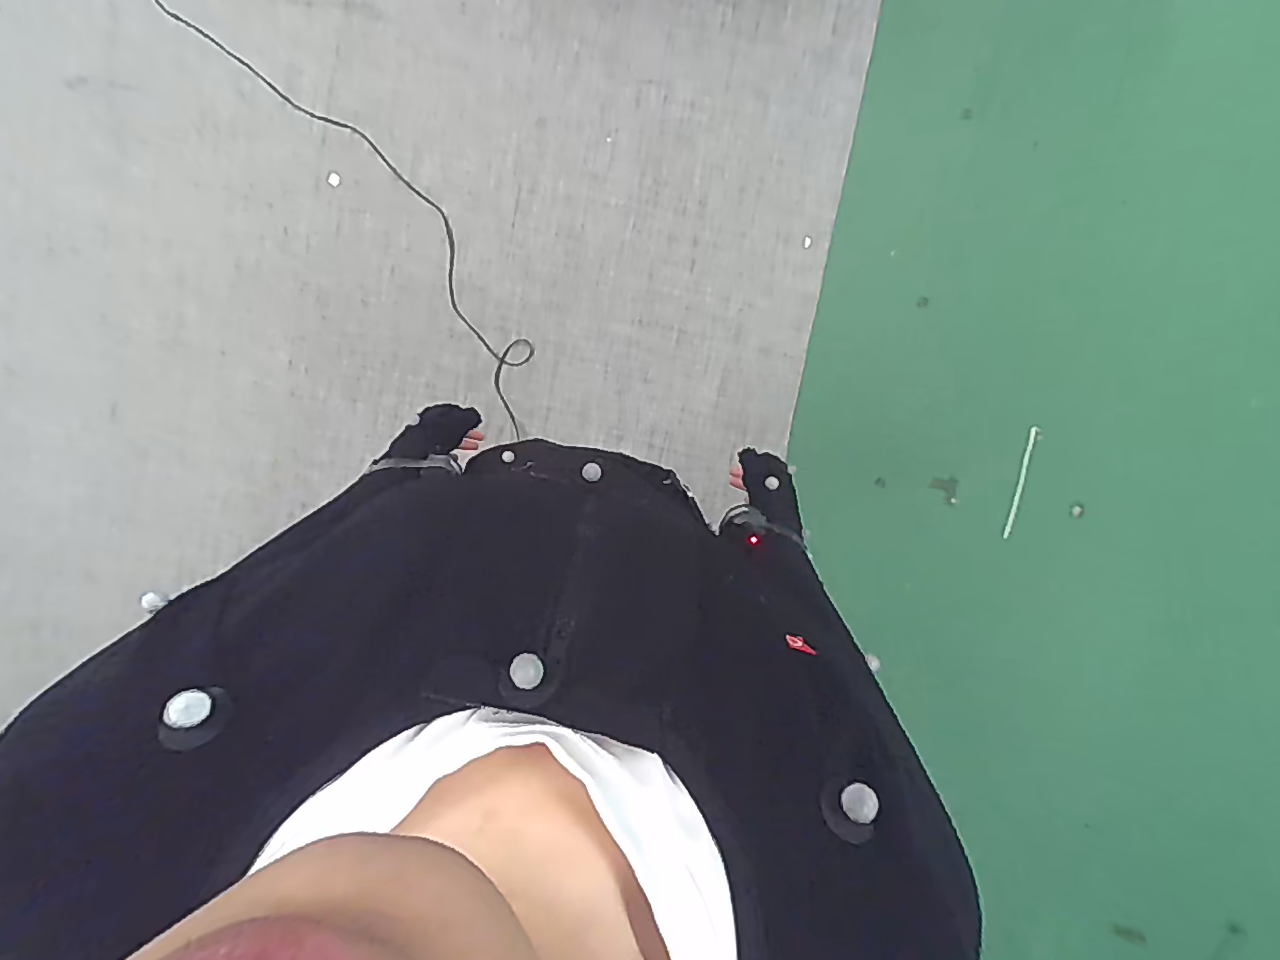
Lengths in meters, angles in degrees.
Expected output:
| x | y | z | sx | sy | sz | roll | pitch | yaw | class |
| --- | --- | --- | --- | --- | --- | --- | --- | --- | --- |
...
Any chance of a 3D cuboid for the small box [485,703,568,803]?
| x | y | z | sx | sy | sz | roll | pitch | yaw | class |
| --- | --- | --- | --- | --- | --- | --- | --- | --- | --- |
| -0.283 | 0.685 | 1.374 | 0.179 | 0.176 | 0.168 | 2 | 95 | -1 | small box |
